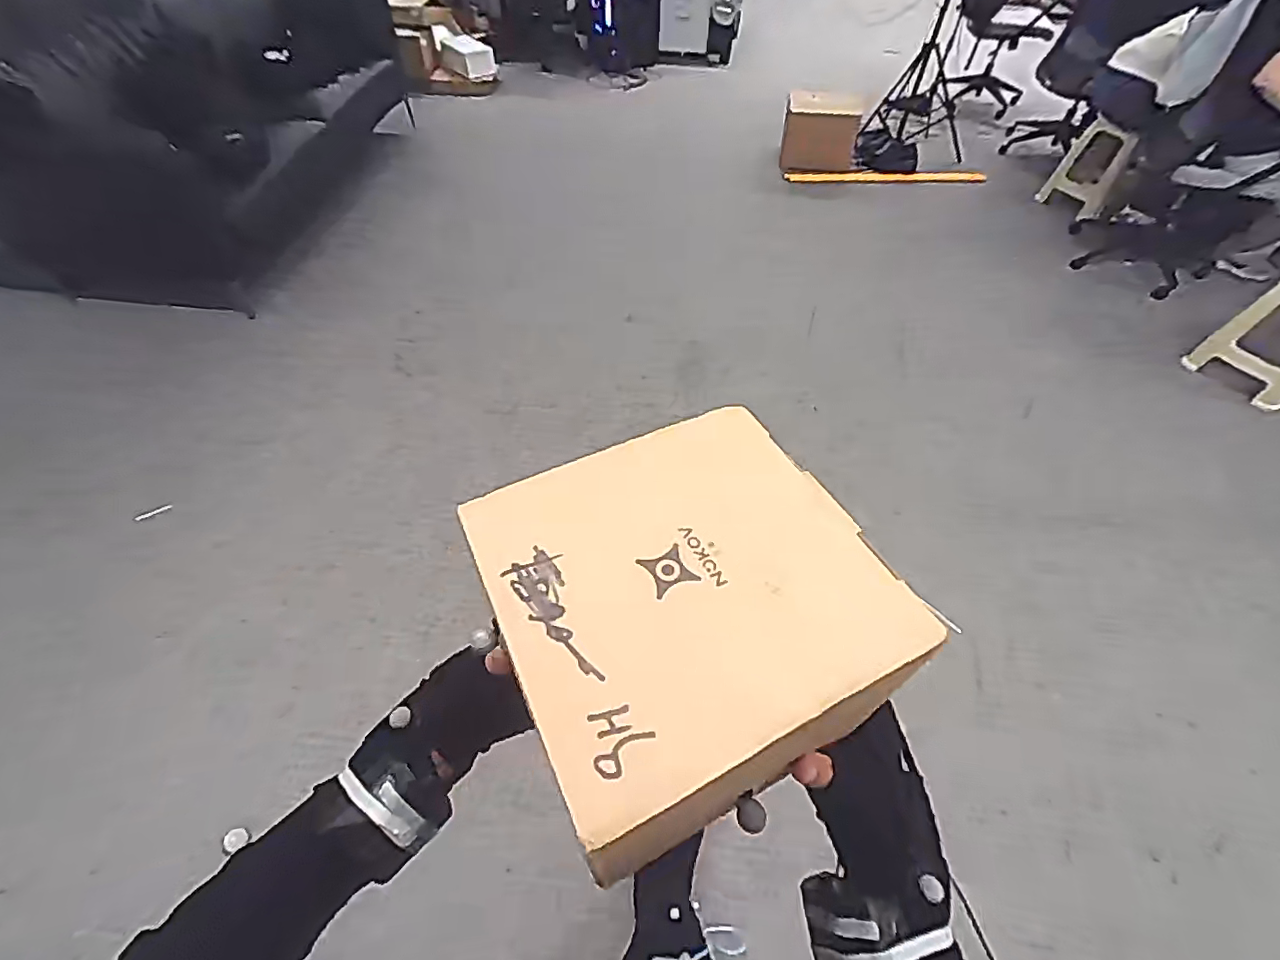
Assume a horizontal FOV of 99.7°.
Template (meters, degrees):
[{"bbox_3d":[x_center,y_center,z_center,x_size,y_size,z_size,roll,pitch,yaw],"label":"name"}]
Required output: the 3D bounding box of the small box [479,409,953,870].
[{"bbox_3d":[0.024,0.091,0.317,0.179,0.176,0.168,-20,52,-19],"label":"small box"}]
